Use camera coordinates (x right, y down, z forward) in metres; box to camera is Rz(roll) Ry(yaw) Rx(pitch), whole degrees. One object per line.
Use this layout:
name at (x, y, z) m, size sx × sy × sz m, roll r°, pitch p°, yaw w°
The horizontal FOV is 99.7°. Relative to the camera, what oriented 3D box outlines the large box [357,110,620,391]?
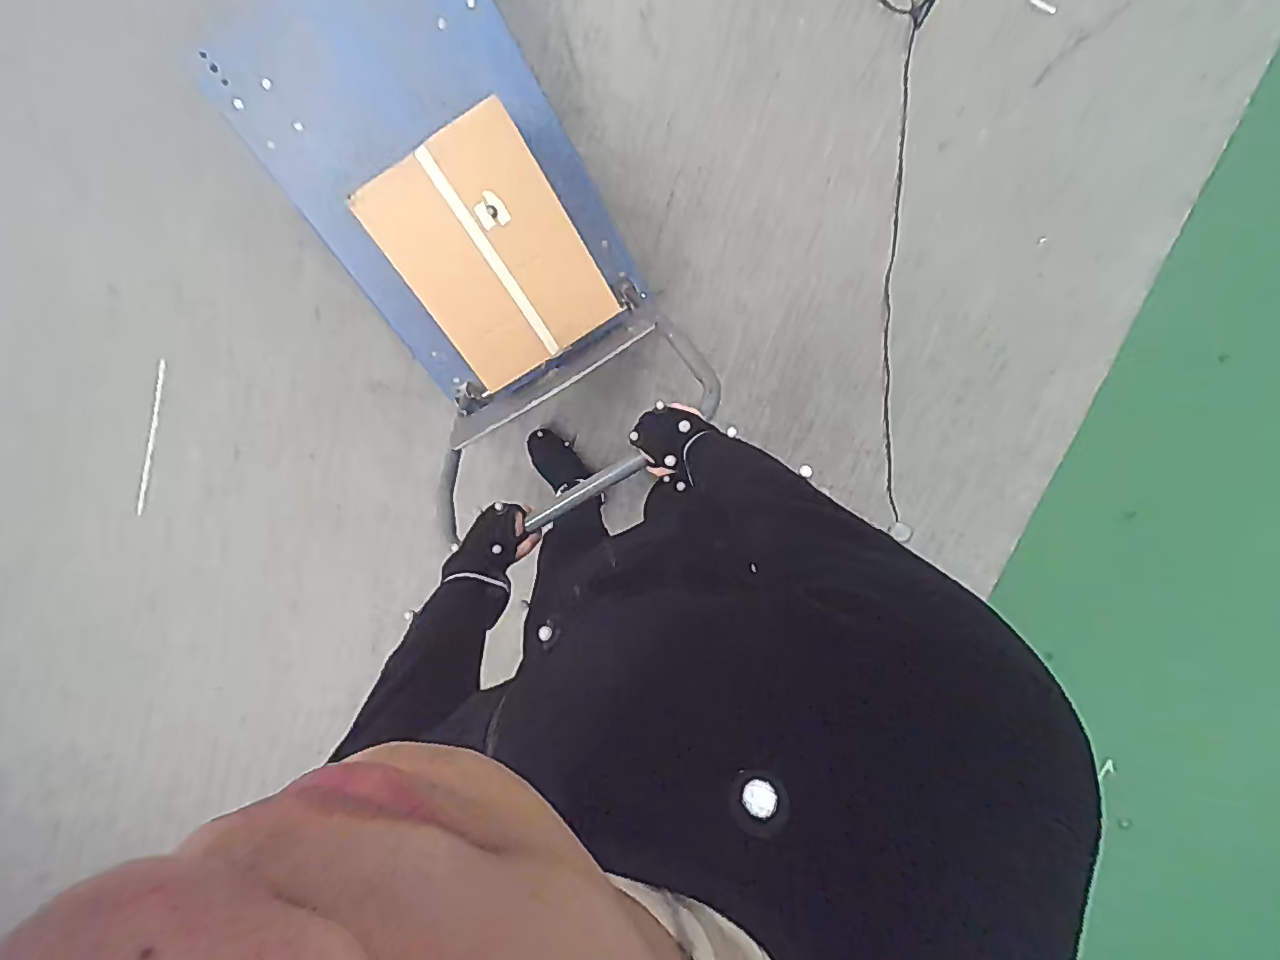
large box at (-0.285, -0.466, 1.140) m, size 0.320 × 0.320 × 0.408 m, roll -31°, pitch 117°, yaw 5°
